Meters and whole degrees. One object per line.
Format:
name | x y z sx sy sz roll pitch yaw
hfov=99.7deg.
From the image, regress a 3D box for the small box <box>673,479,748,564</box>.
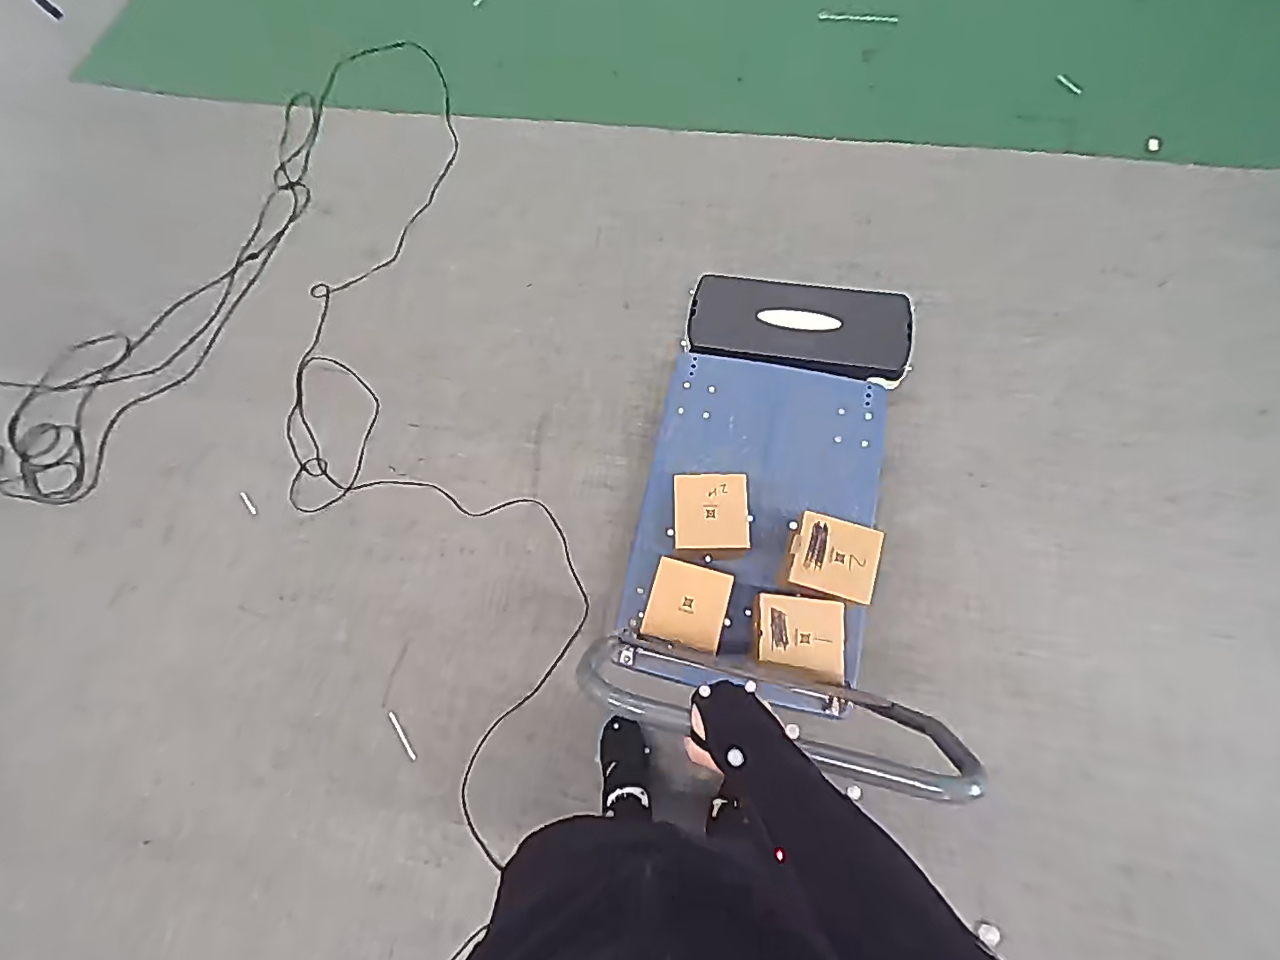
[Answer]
small box | 0.164 0.104 1.290 0.168 0.176 0.179 0 71 3
